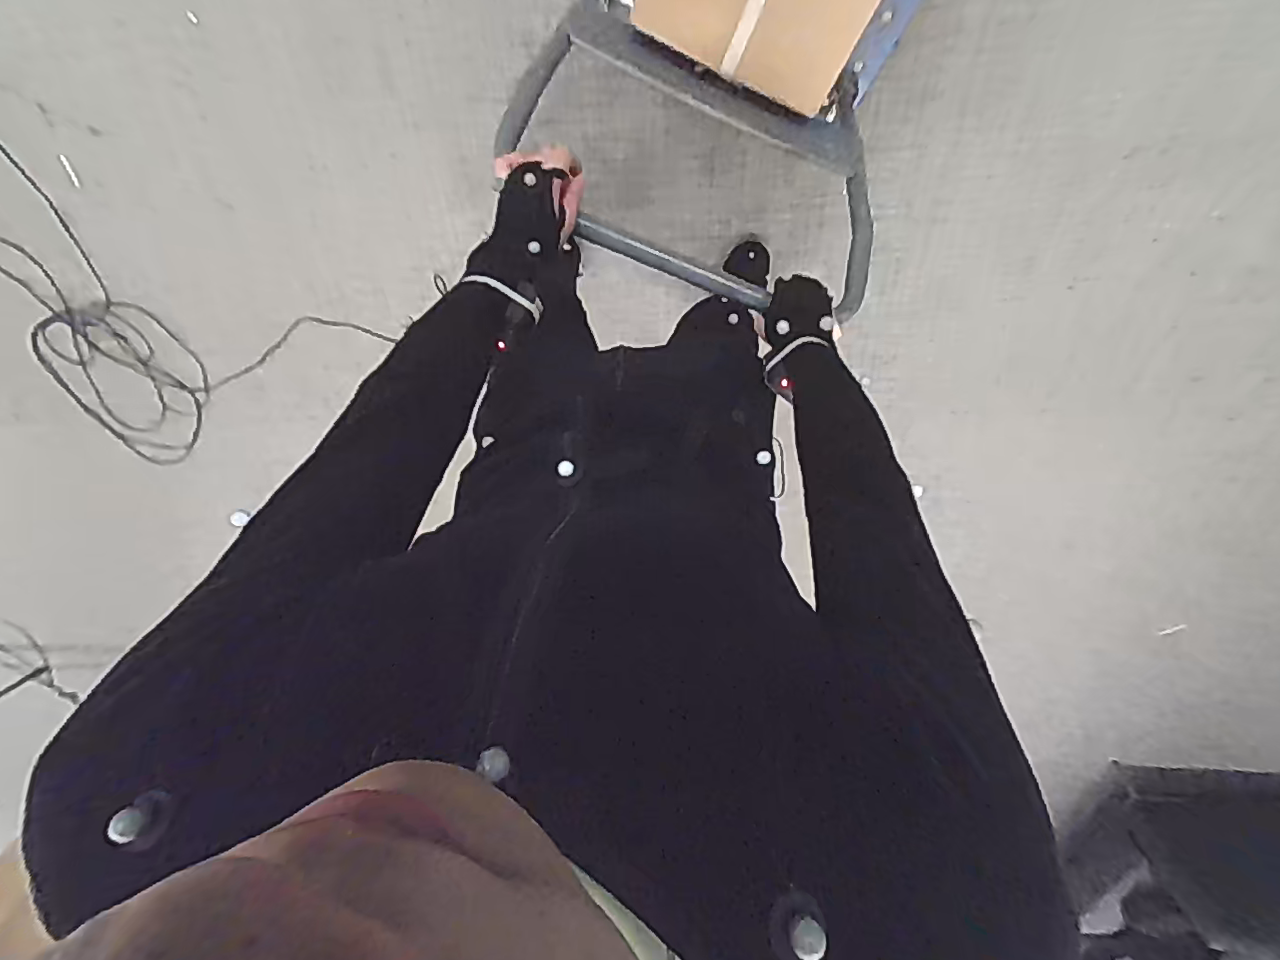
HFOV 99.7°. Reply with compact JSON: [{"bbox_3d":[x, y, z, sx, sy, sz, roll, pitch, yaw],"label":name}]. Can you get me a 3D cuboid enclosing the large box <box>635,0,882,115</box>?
[{"bbox_3d":[0.221,-0.833,0.755,0.320,0.320,0.408,20,140,-11],"label":"large box"}]
